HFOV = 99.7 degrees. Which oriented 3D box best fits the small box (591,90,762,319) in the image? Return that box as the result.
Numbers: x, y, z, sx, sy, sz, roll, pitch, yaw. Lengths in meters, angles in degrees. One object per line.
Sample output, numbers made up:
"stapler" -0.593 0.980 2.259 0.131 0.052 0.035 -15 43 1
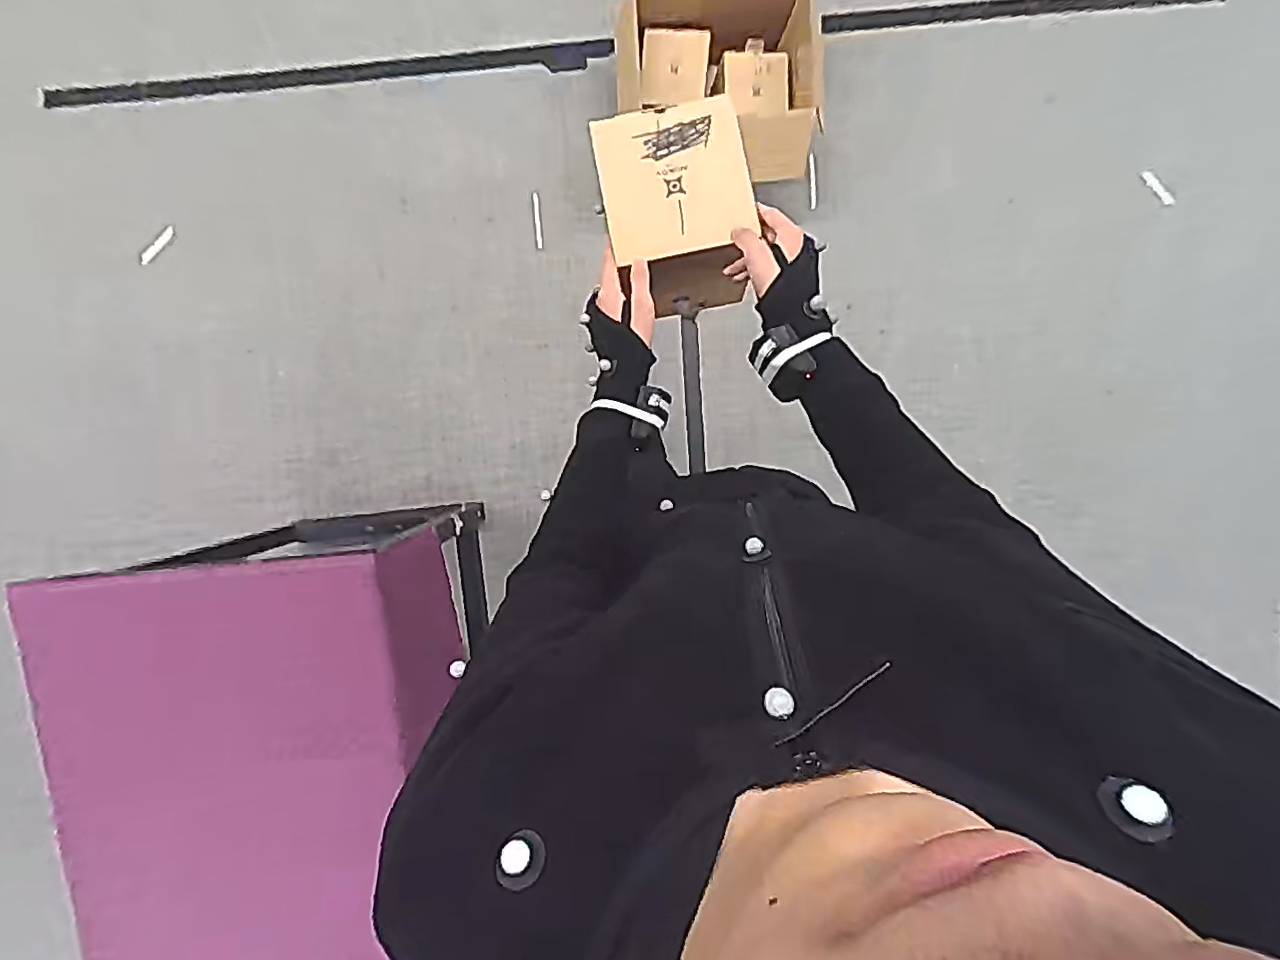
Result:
"small box" 0.041 -0.326 0.671 0.168 0.176 0.179 -11 84 3
